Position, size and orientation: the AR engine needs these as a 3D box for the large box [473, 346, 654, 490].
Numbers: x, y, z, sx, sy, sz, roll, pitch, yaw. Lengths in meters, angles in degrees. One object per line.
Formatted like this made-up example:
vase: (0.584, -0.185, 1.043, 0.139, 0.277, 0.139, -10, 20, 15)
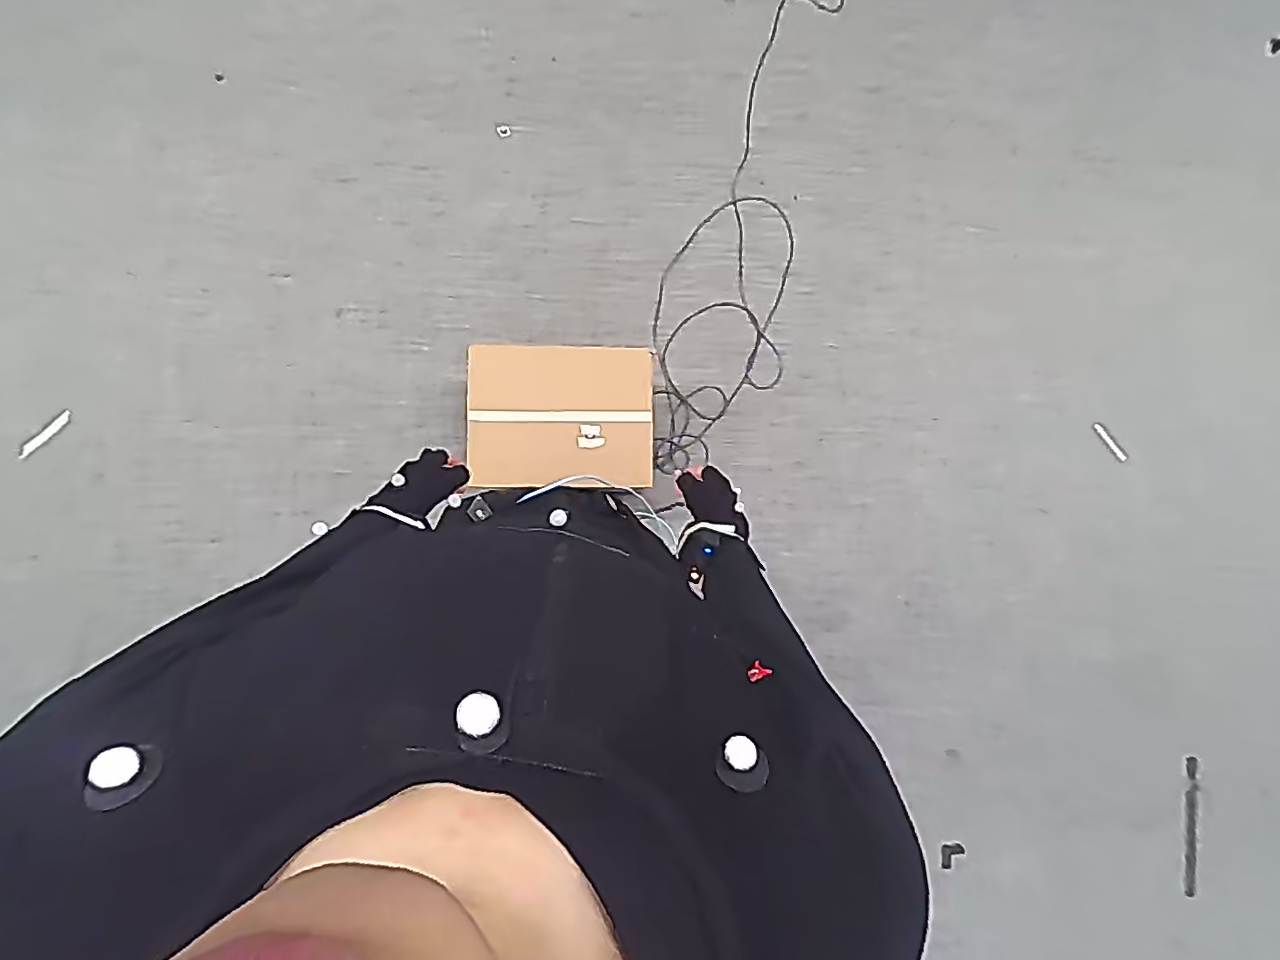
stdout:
large box: (-0.179, -0.136, 1.345, 0.408, 0.320, 0.320, 0, 88, -4)
